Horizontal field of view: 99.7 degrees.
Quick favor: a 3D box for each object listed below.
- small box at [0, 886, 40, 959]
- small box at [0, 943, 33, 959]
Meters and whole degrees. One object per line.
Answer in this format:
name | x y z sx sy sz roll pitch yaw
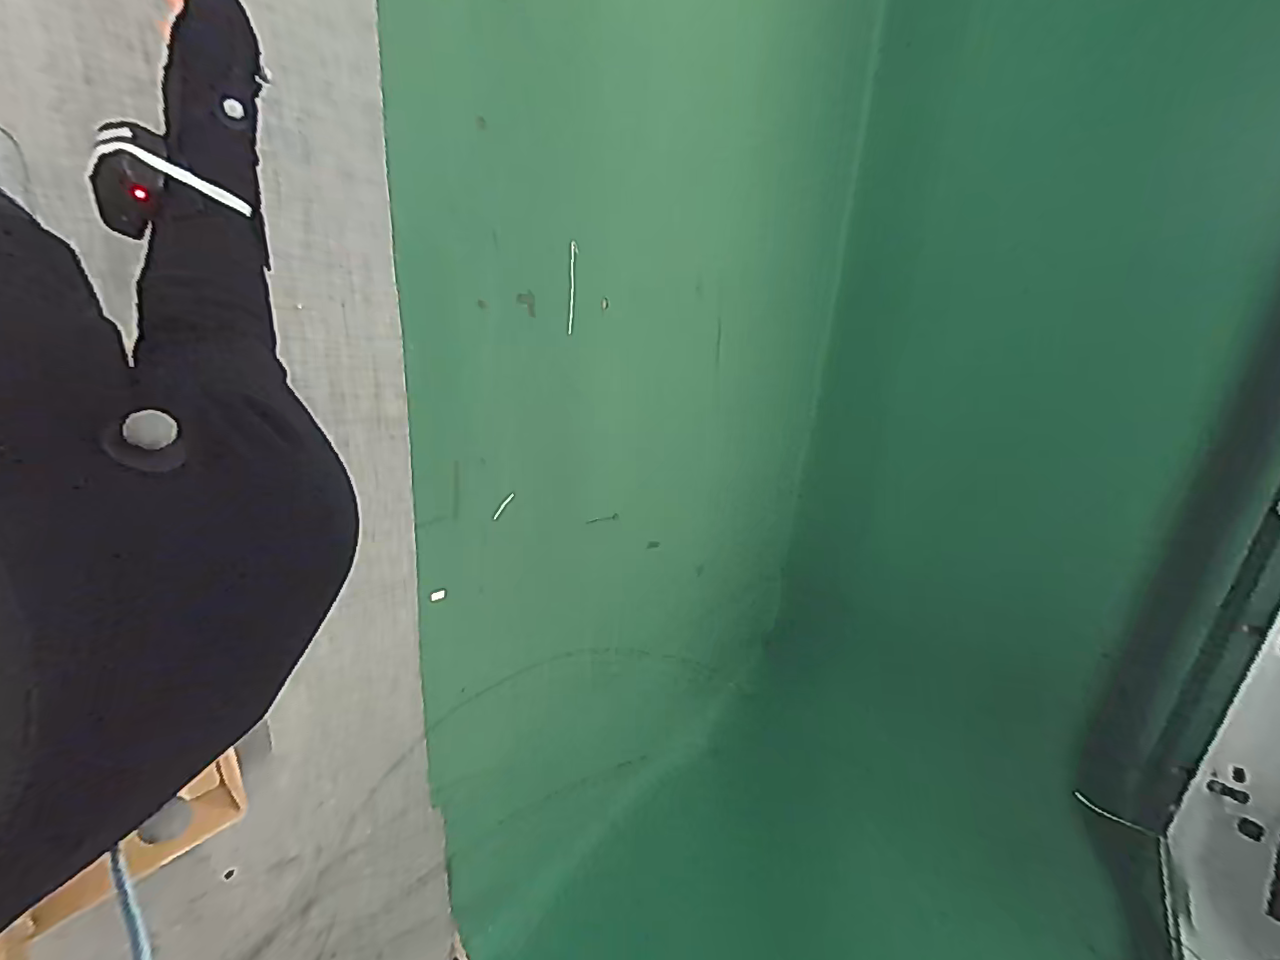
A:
small box | -1.141 0.830 0.899 0.168 0.176 0.179 -21 122 -49
small box | -1.025 0.861 0.814 0.168 0.176 0.179 -20 120 -48
